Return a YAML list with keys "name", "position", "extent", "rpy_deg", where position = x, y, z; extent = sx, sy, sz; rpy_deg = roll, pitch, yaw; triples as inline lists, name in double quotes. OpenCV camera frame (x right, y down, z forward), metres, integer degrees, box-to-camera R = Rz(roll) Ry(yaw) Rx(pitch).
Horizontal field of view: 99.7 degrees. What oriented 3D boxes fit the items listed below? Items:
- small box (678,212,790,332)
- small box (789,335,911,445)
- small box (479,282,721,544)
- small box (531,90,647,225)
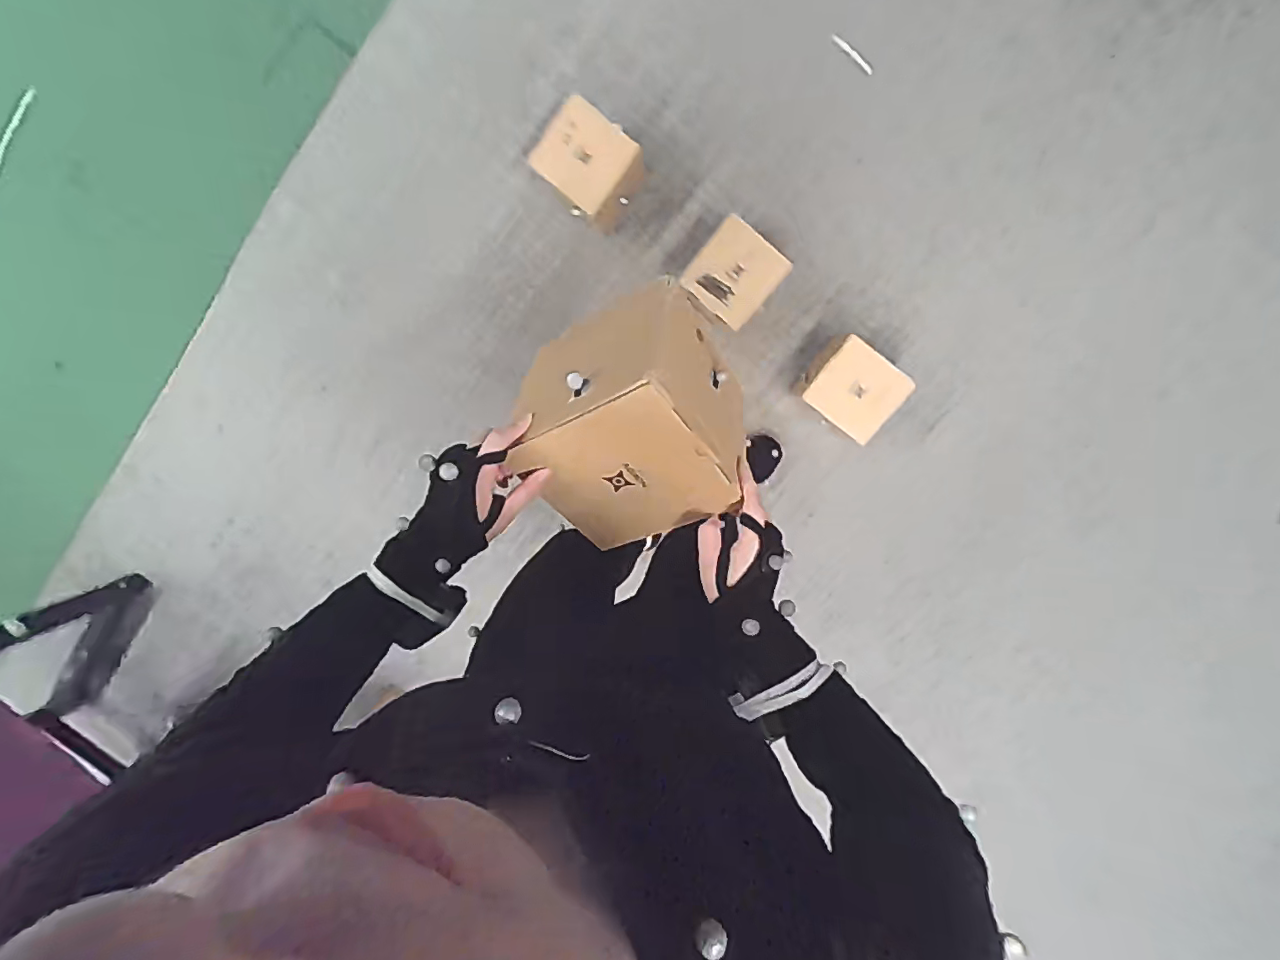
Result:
- name: "small box"
  position: [0.204, -0.447, 1.198]
  extent: [0.168, 0.176, 0.179]
  rpy_deg: [41, 103, -3]
- name: "small box"
  position: [0.460, -0.203, 1.221]
  extent: [0.179, 0.176, 0.168]
  rpy_deg: [39, 104, -3]
- name: "small box"
  position: [-0.027, -0.065, 0.557]
  extent: [0.179, 0.176, 0.168]
  rpy_deg: [-22, 130, 28]
- name: "small box"
  position: [-0.101, -0.687, 1.182]
  extent: [0.179, 0.176, 0.168]
  rpy_deg: [41, 103, -3]
